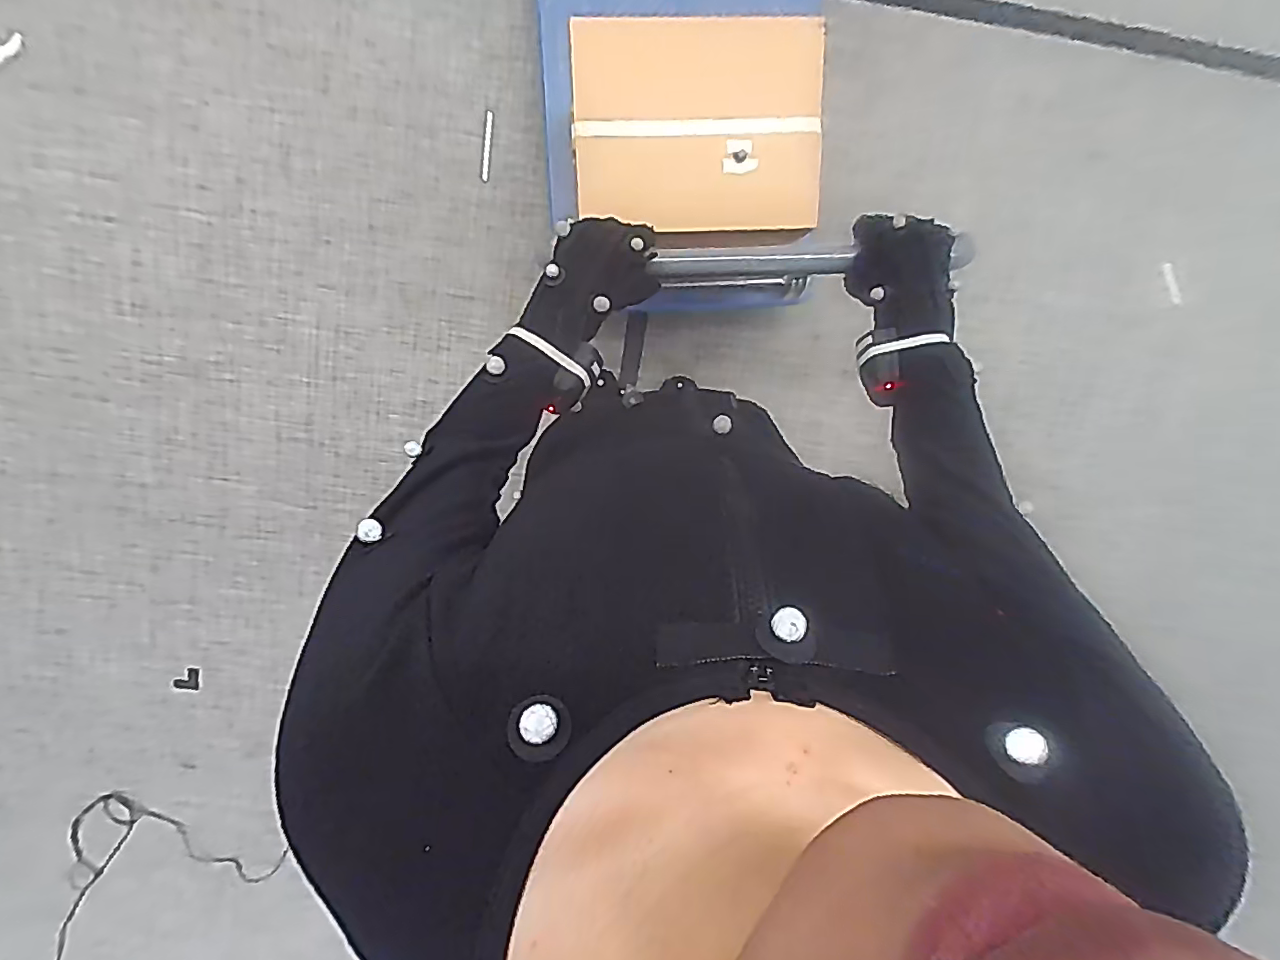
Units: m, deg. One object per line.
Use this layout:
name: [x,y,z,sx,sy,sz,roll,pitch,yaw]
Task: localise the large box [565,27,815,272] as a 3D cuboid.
large box: [0.078,-0.589,1.024,0.408,0.320,0.320,-3,103,-3]
